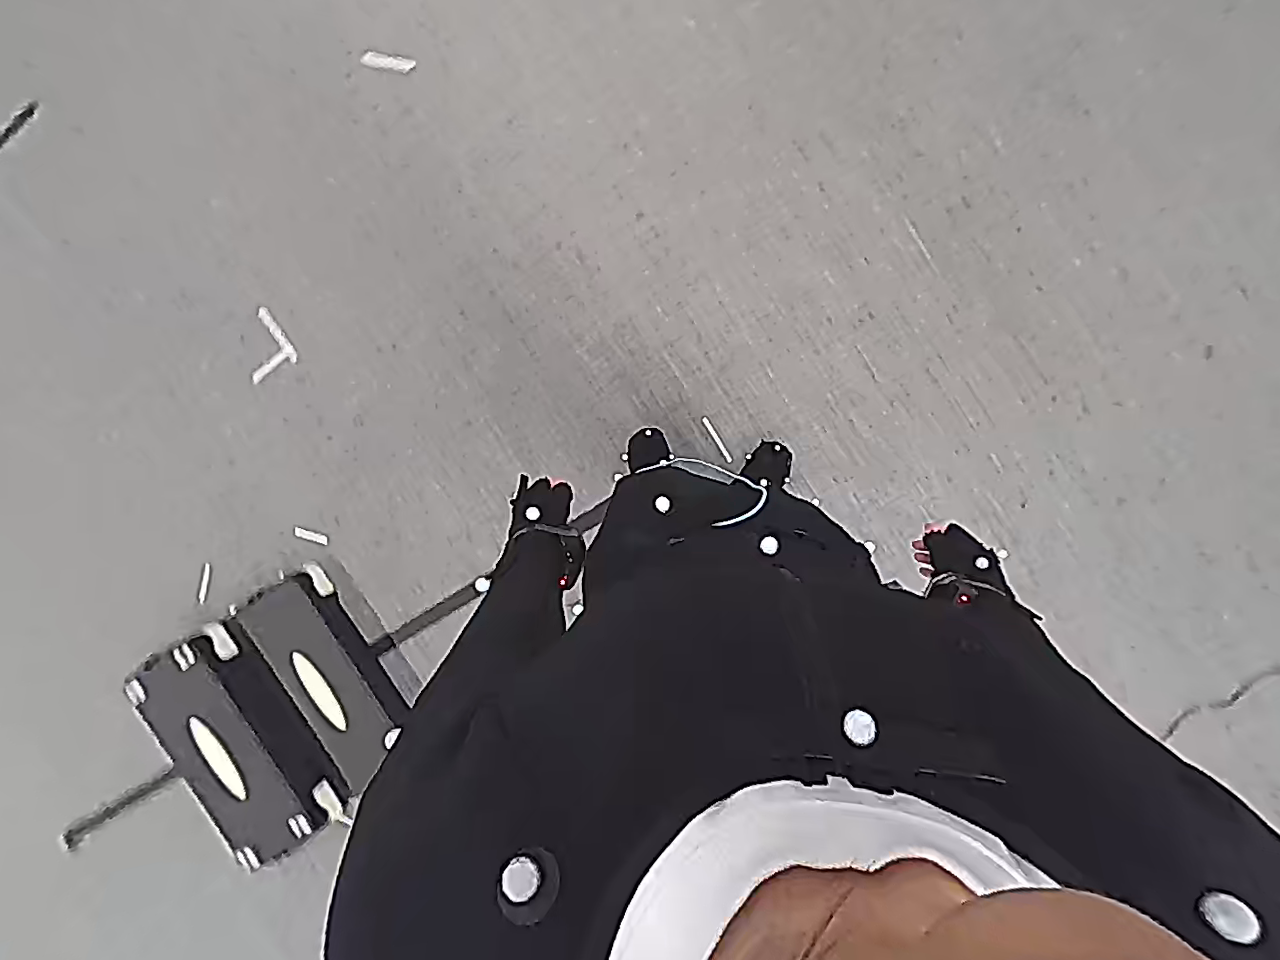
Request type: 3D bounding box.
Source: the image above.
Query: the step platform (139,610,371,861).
[{"bbox_3d":[-1.115,0.742,1.582,0.286,0.204,0.684,-33,91,8],"label":"step platform"}]
